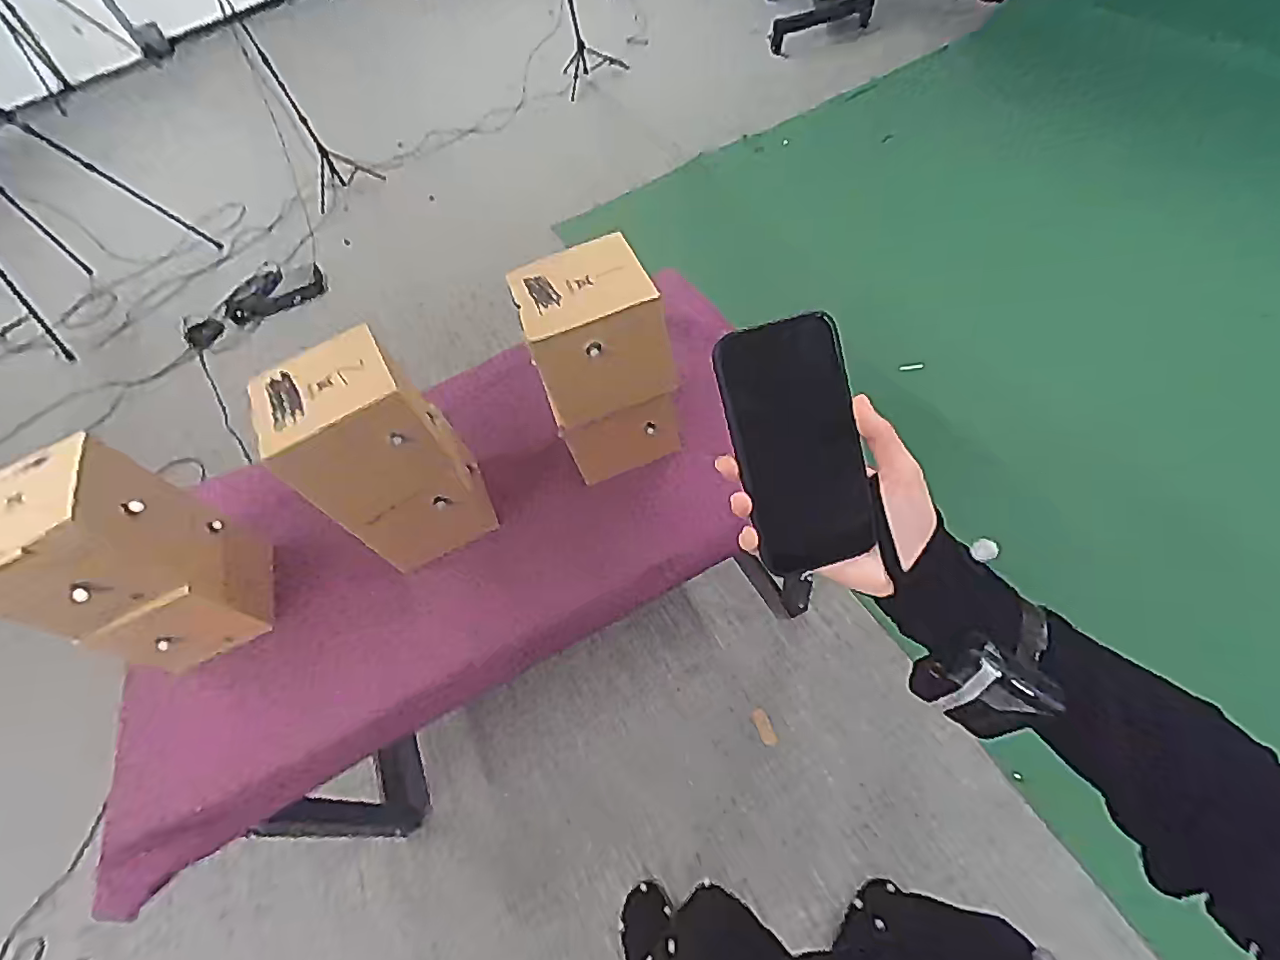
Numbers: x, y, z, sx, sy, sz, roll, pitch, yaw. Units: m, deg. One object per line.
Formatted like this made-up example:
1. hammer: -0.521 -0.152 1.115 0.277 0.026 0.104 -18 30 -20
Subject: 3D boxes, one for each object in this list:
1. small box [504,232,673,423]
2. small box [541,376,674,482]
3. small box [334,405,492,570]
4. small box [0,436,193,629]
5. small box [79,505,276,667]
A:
1. small box: -0.069 -0.209 0.767 0.179 0.176 0.168 -22 54 -2
2. small box: -0.051 -0.126 0.908 0.179 0.176 0.168 -22 54 -1
3. small box: -0.360 0.016 0.883 0.179 0.176 0.168 -27 55 -5
4. small box: -0.751 0.080 0.732 0.168 0.176 0.179 -30 56 -9
5. small box: -0.715 0.177 0.860 0.168 0.176 0.179 -26 54 -5
